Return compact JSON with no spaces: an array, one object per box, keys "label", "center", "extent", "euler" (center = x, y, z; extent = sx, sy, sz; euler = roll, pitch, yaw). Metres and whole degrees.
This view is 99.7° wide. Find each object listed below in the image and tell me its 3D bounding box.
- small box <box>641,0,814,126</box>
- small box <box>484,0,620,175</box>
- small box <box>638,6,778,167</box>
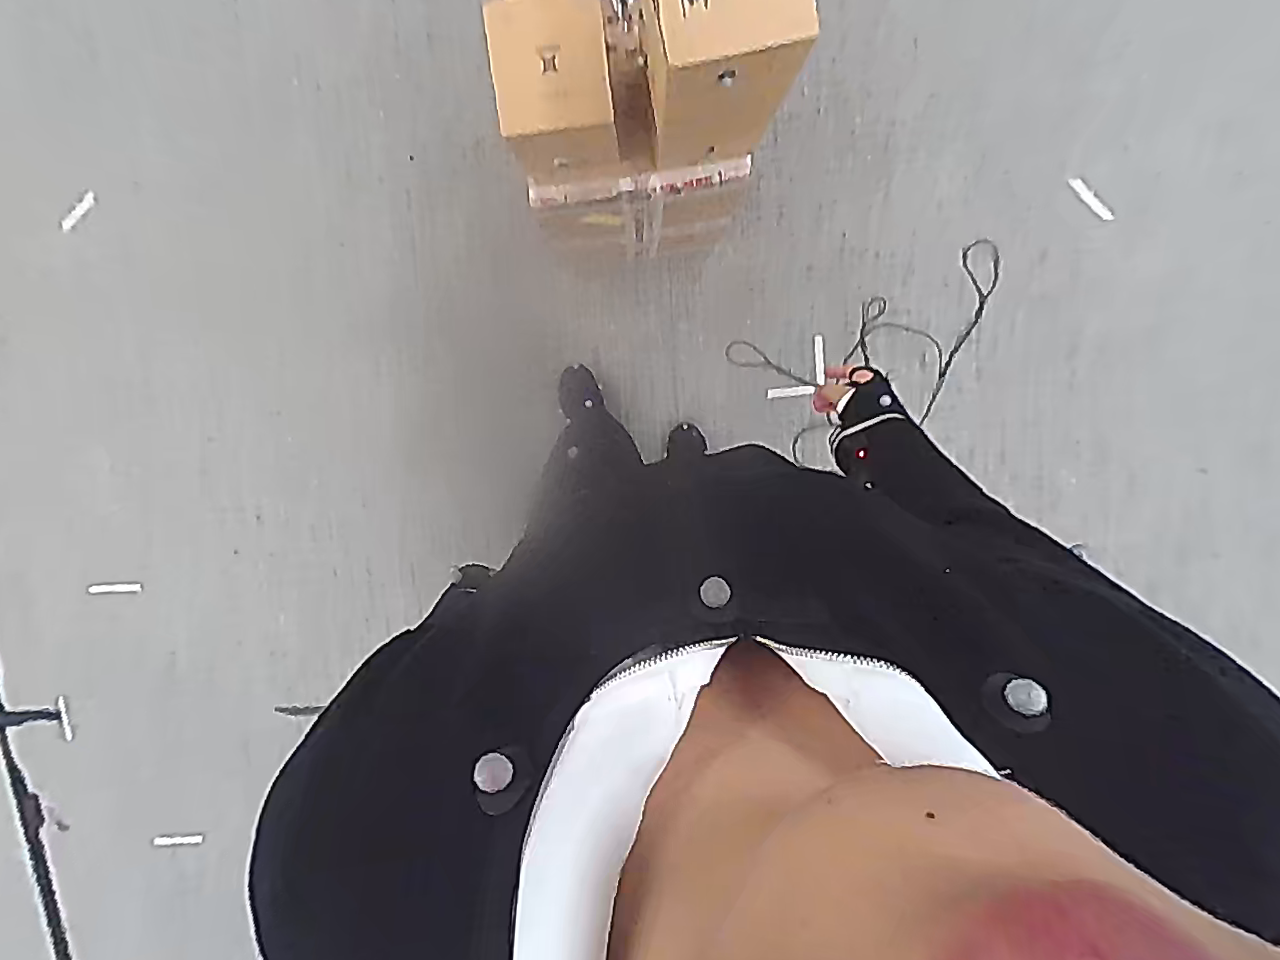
[{"label":"small box","center":[0.097,-0.578,0.677],"extent":[0.179,0.176,0.168],"euler":[-11,102,2]},{"label":"small box","center":[-0.125,-0.605,0.840],"extent":[0.168,0.176,0.179],"euler":[-7,102,3]},{"label":"small box","center":[0.097,-0.616,0.838],"extent":[0.179,0.176,0.168],"euler":[-11,101,1]}]
